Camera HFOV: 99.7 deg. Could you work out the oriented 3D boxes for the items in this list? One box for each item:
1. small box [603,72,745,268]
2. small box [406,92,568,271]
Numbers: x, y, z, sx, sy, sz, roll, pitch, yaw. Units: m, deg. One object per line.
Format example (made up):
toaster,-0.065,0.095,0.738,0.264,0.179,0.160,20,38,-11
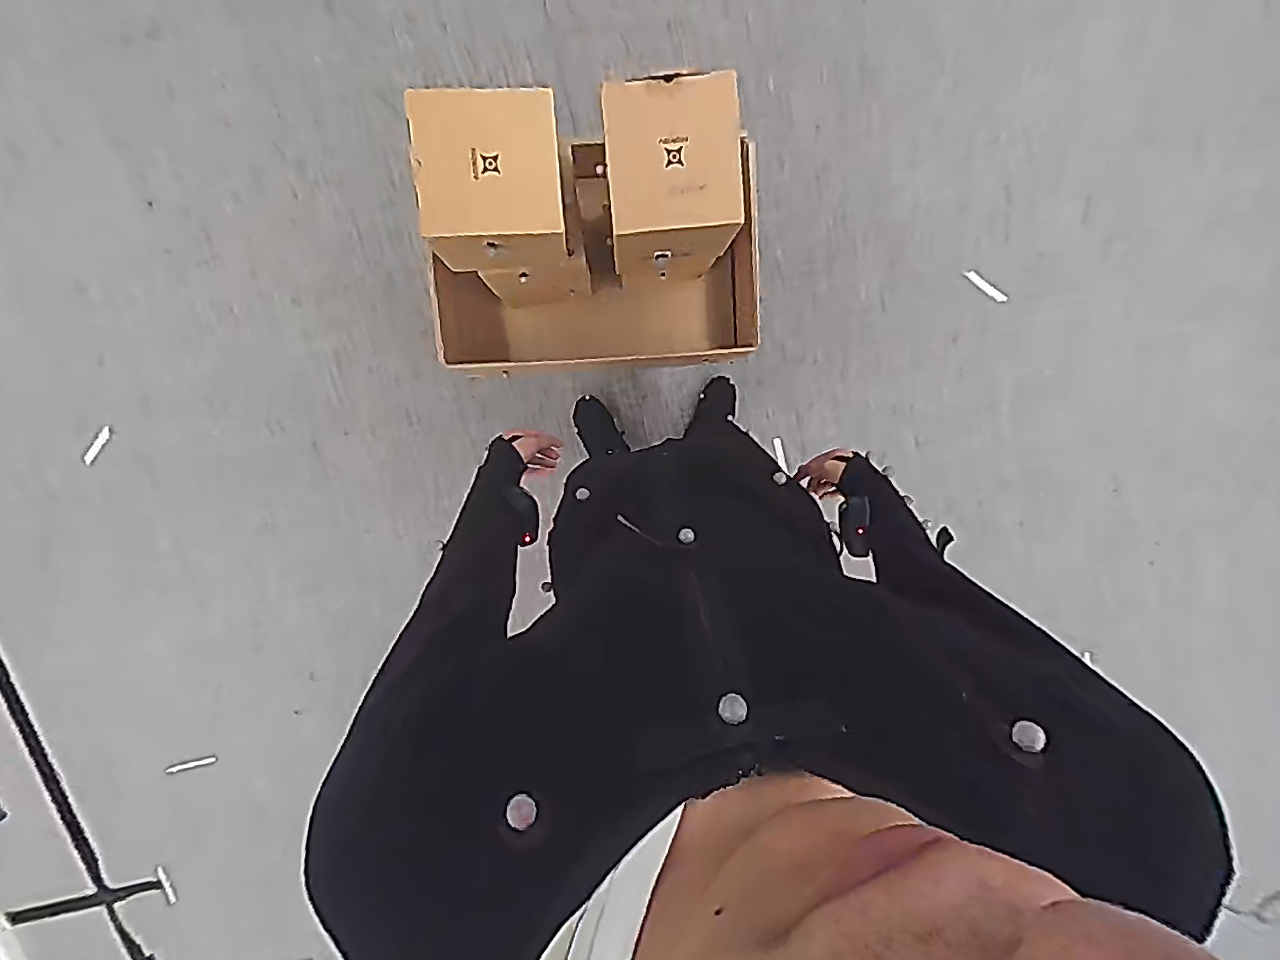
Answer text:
small box,0.040,-0.404,0.733,0.168,0.176,0.179,-5,98,0
small box,-0.190,-0.385,0.725,0.179,0.176,0.168,-4,98,-4
